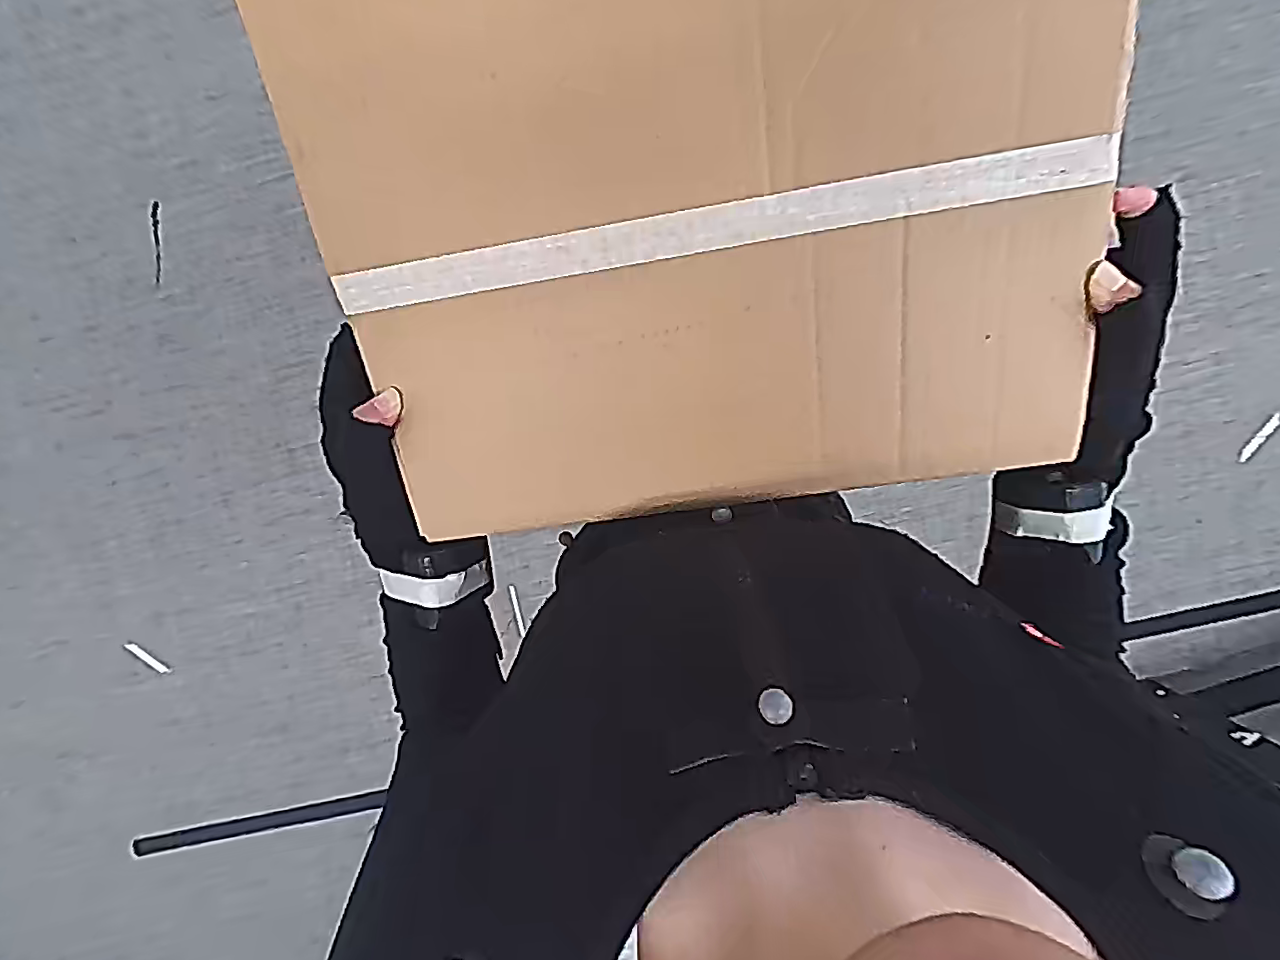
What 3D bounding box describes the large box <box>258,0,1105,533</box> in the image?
[{"bbox_3d":[0.035,-0.185,0.433,0.408,0.320,0.320,-8,111,5],"label":"large box"}]
